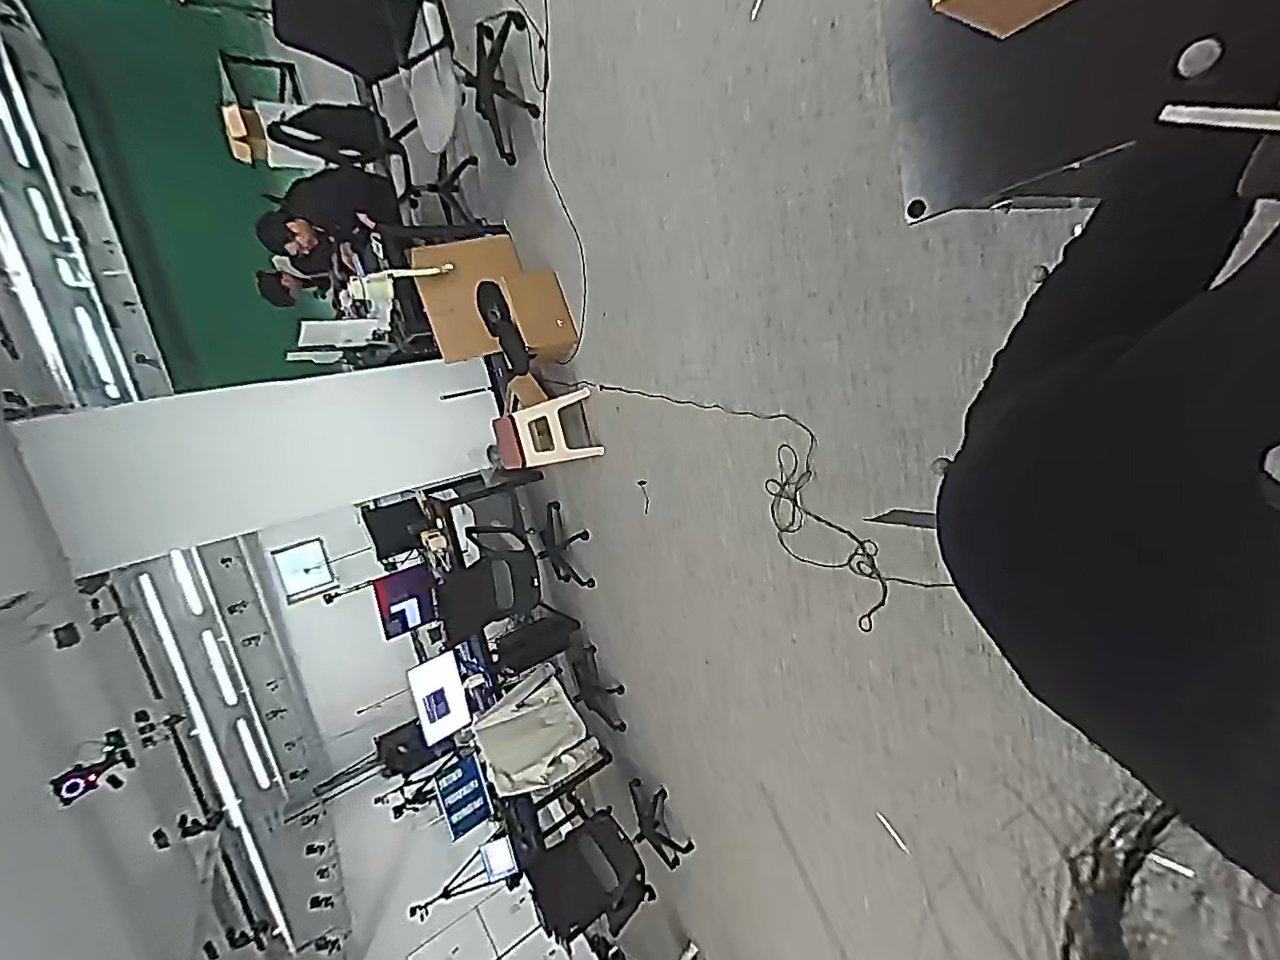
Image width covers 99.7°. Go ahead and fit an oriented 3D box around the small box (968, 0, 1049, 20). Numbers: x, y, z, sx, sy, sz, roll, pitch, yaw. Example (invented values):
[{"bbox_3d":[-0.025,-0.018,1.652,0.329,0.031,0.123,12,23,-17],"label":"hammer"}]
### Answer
[{"bbox_3d":[0.381,-0.563,0.483,0.179,0.176,0.168,4,109,54],"label":"small box"}]
